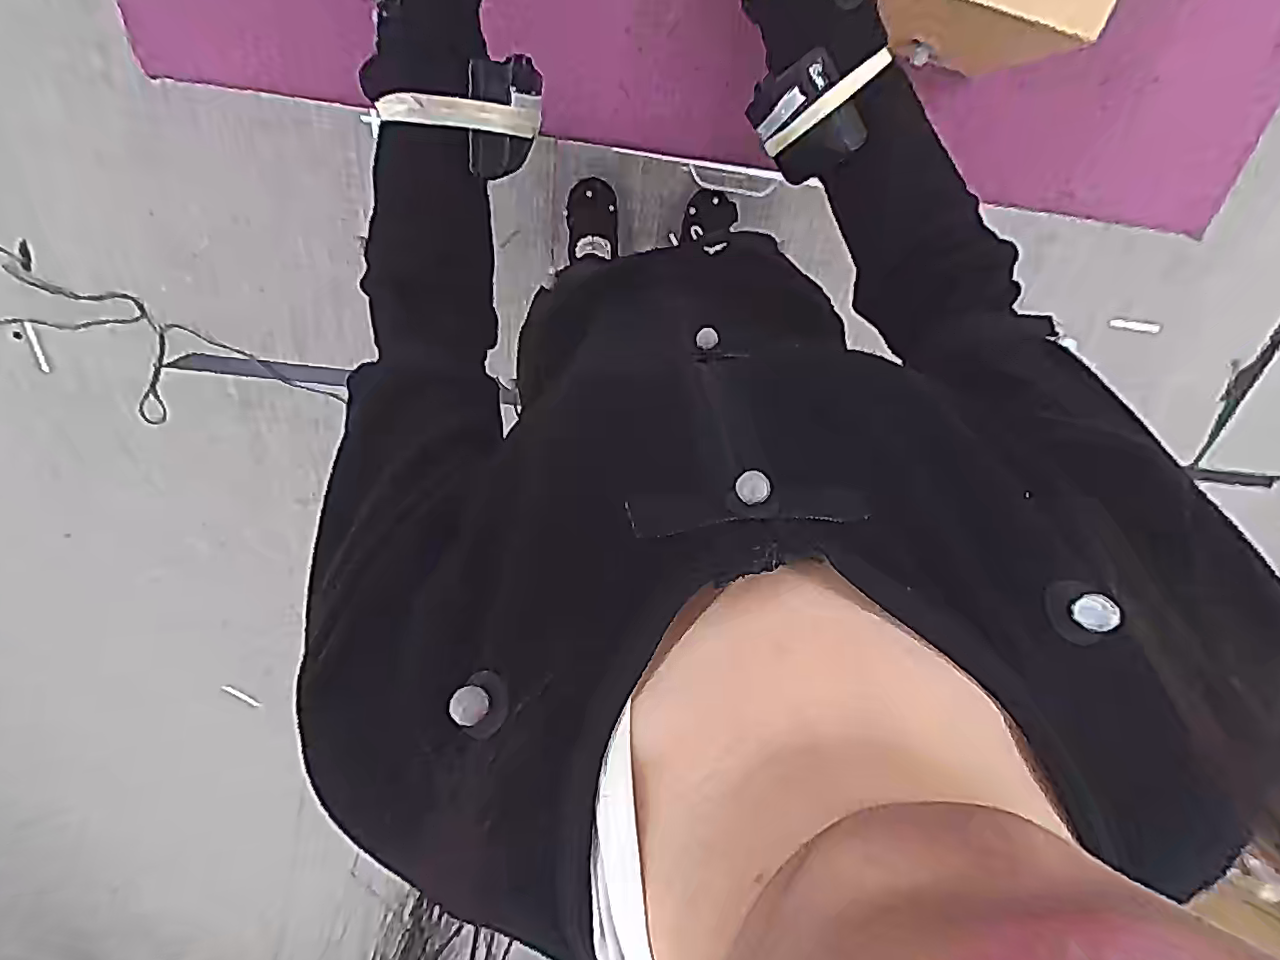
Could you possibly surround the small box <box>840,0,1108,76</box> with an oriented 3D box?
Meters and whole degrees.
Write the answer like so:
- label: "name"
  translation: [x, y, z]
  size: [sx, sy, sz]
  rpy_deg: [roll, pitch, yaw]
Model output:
- label: "small box"
  translation: [0.297, -0.479, 0.457]
  size: [0.168, 0.176, 0.179]
  rpy_deg: [10, 118, -9]
